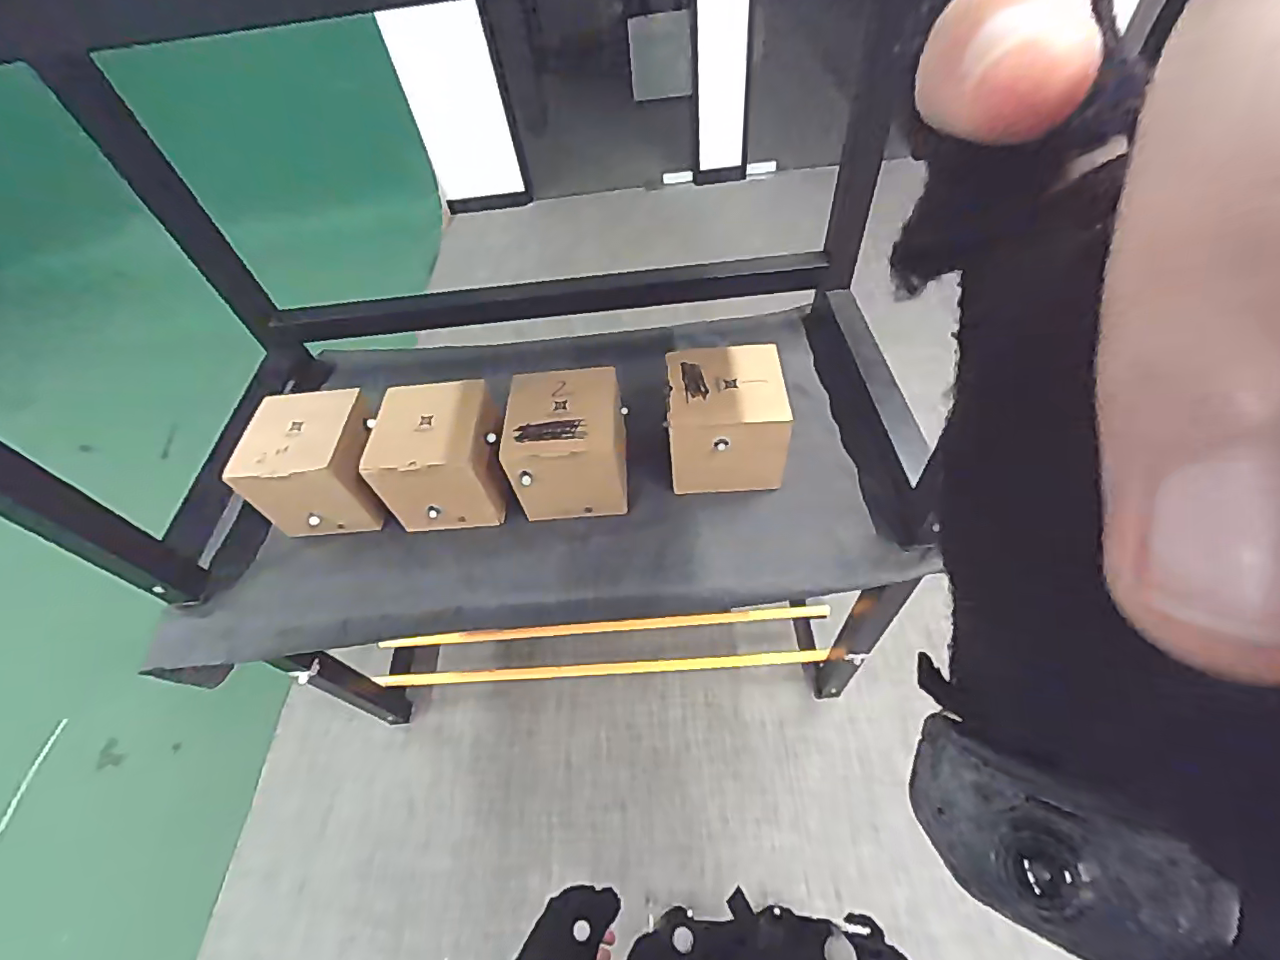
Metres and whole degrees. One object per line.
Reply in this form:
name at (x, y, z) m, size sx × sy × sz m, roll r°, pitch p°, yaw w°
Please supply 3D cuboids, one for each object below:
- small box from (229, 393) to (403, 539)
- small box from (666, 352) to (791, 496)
small box at (-0.523, -0.022, 0.908) m, size 0.168 × 0.176 × 0.179 m, roll -5°, pitch 52°, yaw 4°
small box at (0.136, -0.086, 0.877) m, size 0.179 × 0.176 × 0.168 m, roll -2°, pitch 53°, yaw 4°
